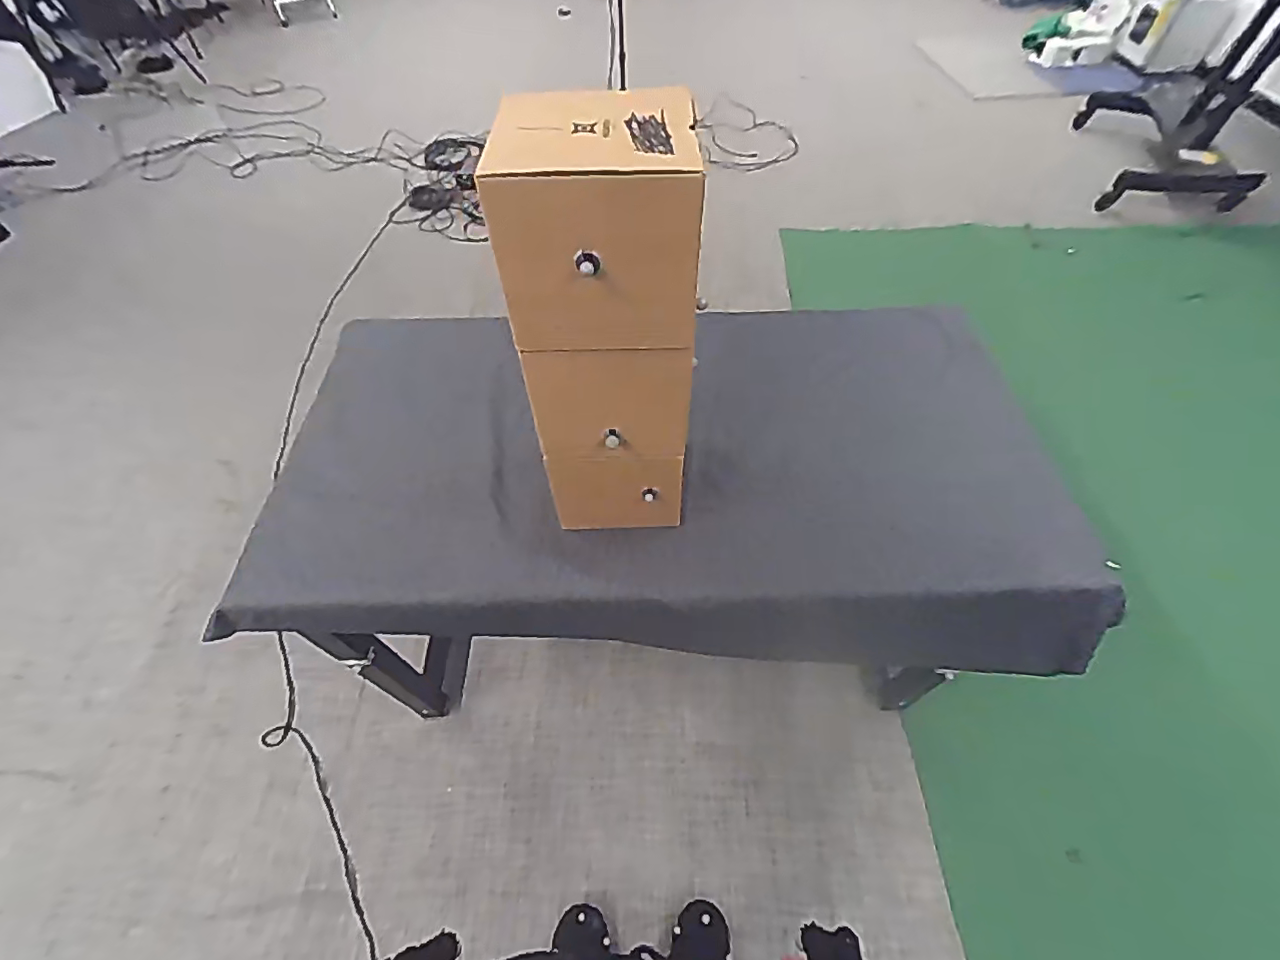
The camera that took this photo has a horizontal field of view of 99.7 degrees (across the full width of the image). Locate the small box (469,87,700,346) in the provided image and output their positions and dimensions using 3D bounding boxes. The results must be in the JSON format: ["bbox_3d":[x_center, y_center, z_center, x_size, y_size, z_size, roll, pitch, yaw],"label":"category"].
[{"bbox_3d":[-0.041,-0.245,0.516,0.179,0.176,0.168,-2,53,1],"label":"small box"}]

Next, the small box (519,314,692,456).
[{"bbox_3d":[-0.037,-0.145,0.650,0.179,0.176,0.168,-4,55,-1],"label":"small box"}]

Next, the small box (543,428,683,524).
[{"bbox_3d":[-0.034,-0.049,0.780,0.179,0.176,0.168,-3,53,1],"label":"small box"}]
